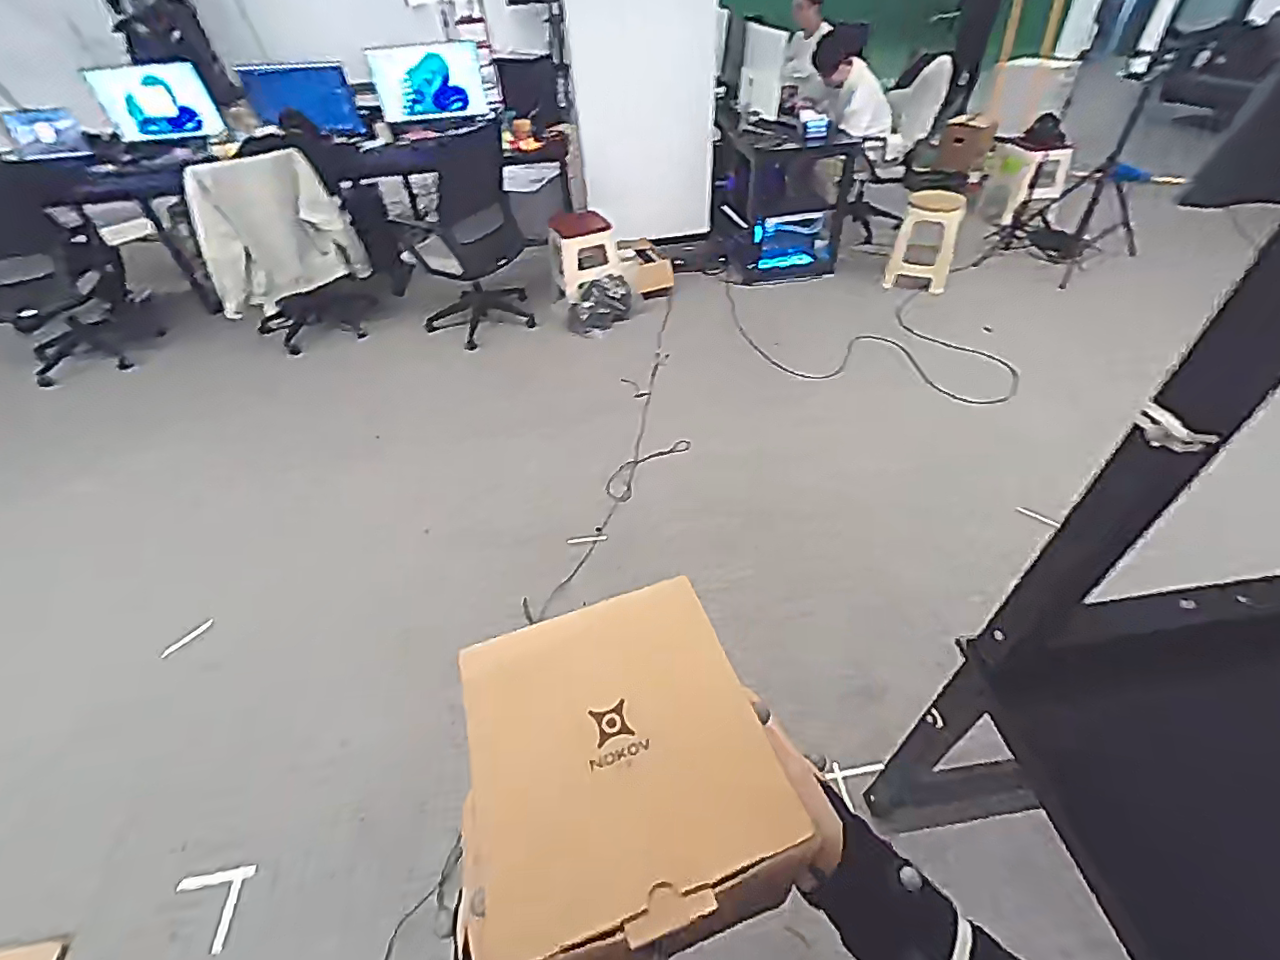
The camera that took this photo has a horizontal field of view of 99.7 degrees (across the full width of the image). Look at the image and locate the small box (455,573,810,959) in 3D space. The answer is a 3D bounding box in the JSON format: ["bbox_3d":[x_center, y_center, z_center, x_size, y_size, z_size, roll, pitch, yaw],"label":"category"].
[{"bbox_3d":[-0.015,0.199,0.364,0.168,0.176,0.179,-16,45,-12],"label":"small box"}]
